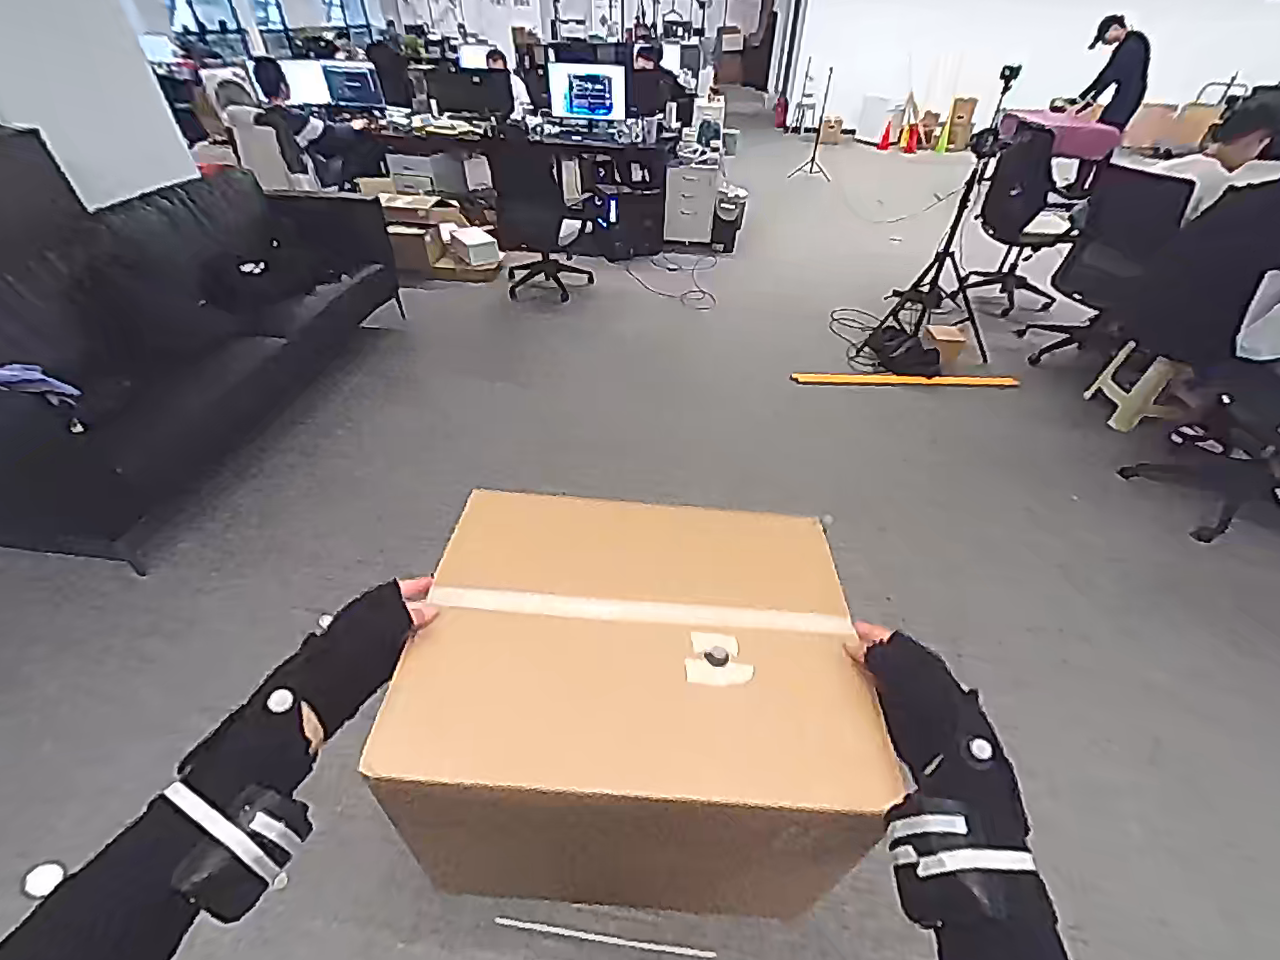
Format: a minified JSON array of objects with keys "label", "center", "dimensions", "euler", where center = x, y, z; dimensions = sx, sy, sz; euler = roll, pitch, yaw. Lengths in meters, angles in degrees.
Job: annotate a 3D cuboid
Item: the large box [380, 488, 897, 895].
[{"label":"large box","center":[-0.008,0.235,0.614],"dimensions":[0.408,0.320,0.320],"euler":[5,40,-1]}]
